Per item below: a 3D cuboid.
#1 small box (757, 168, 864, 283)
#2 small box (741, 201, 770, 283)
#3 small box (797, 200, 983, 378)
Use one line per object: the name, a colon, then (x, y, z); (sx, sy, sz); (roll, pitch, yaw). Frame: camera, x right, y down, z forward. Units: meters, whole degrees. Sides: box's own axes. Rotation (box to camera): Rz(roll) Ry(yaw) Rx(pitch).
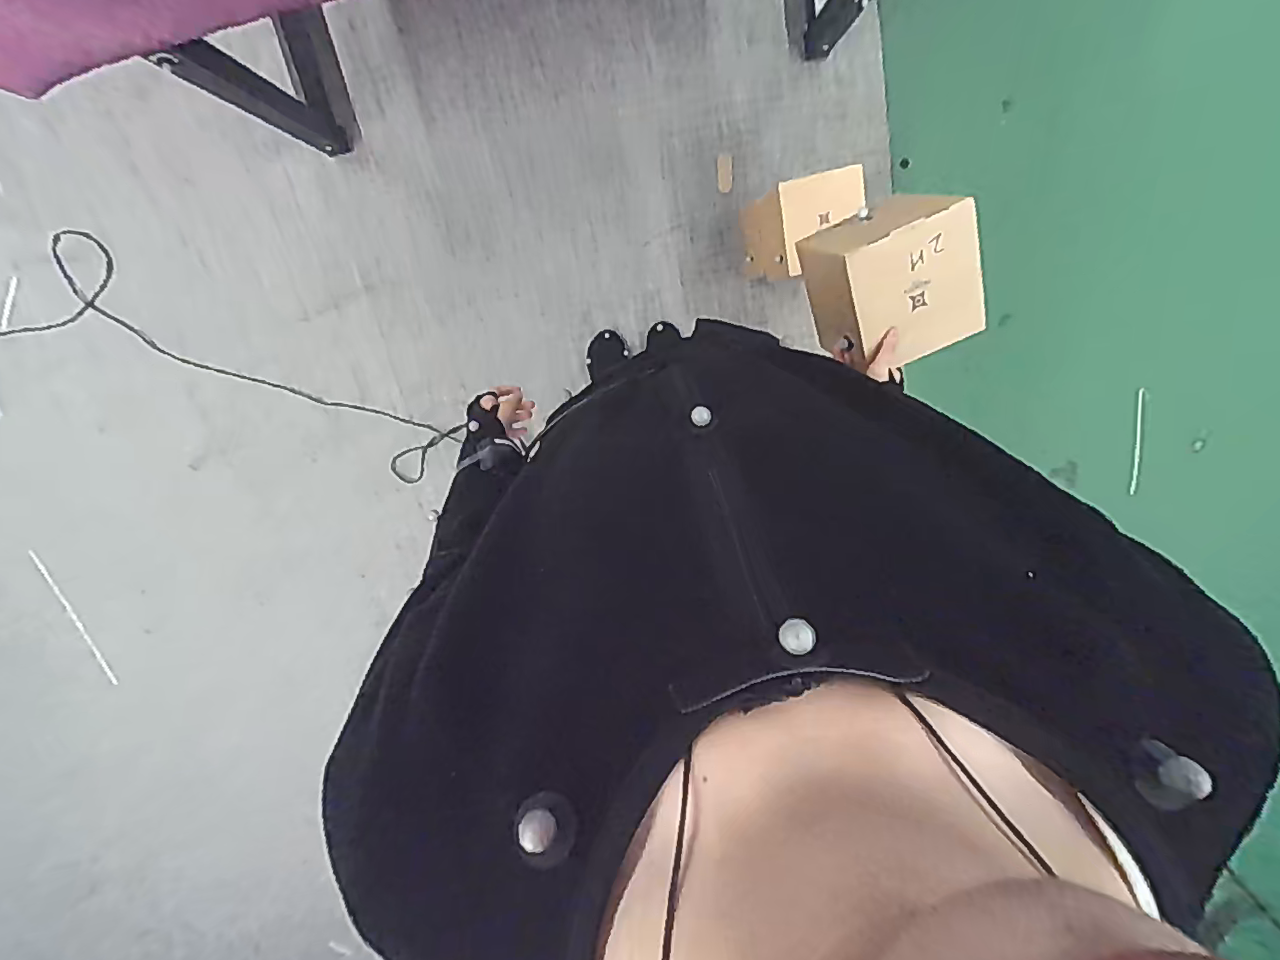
small box: (0.354, -0.523, 1.133); (0.168, 0.176, 0.179); (-13, 108, 2)
small box: (0.343, -0.572, 1.287); (0.179, 0.176, 0.168); (-10, 107, 1)
small box: (0.344, -0.274, 0.761); (0.168, 0.176, 0.179); (-24, 118, 5)
